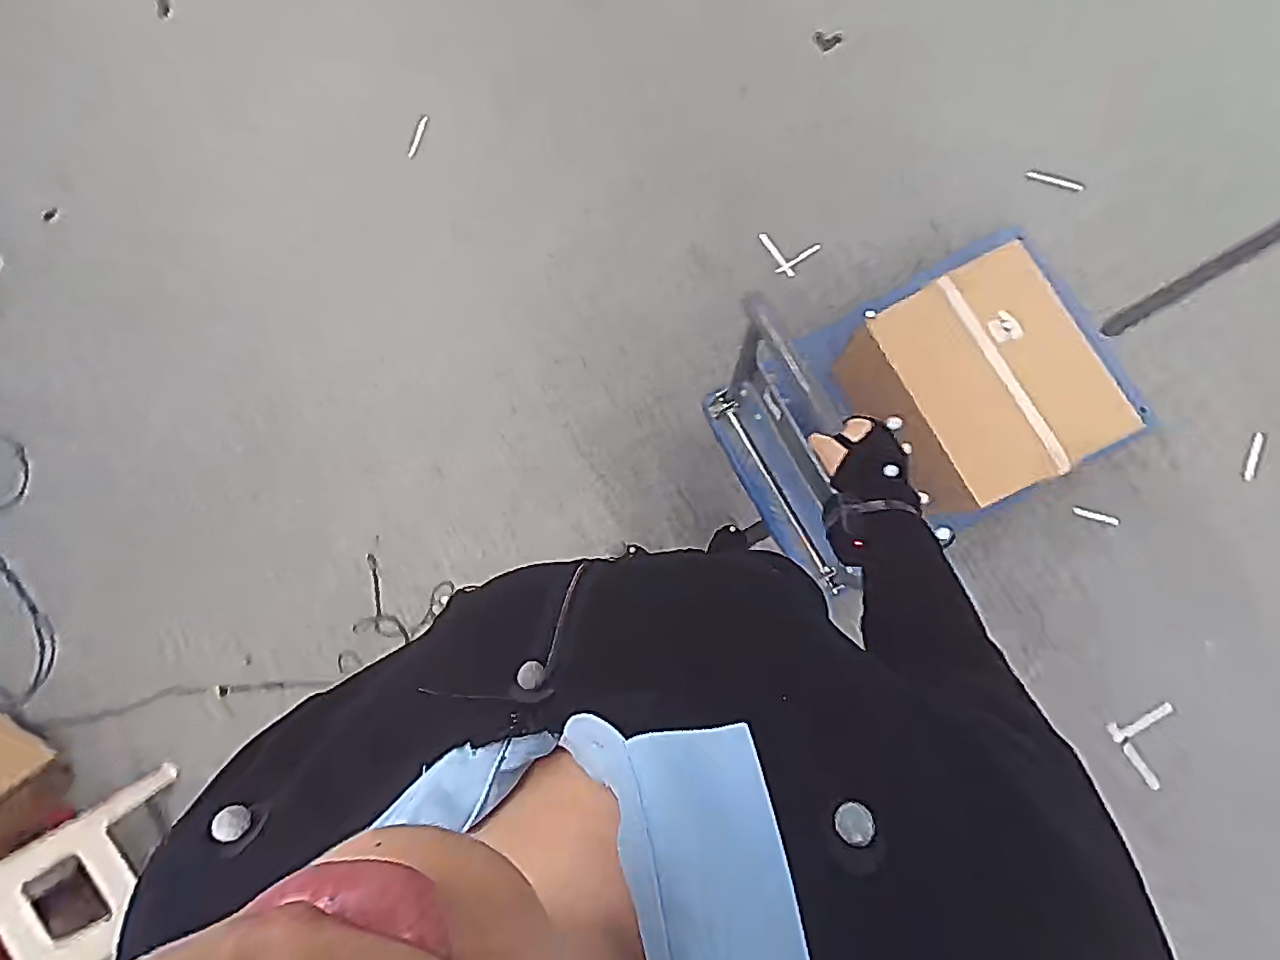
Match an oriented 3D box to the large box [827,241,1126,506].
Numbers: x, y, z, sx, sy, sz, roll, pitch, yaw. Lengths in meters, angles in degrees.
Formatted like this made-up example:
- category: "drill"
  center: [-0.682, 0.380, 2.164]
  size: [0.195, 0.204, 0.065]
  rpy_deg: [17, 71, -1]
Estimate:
- category: "large box"
  center: [0.662, -0.195, 1.148]
  size: [0.320, 0.320, 0.408]
  rpy_deg: [-29, 81, 3]
